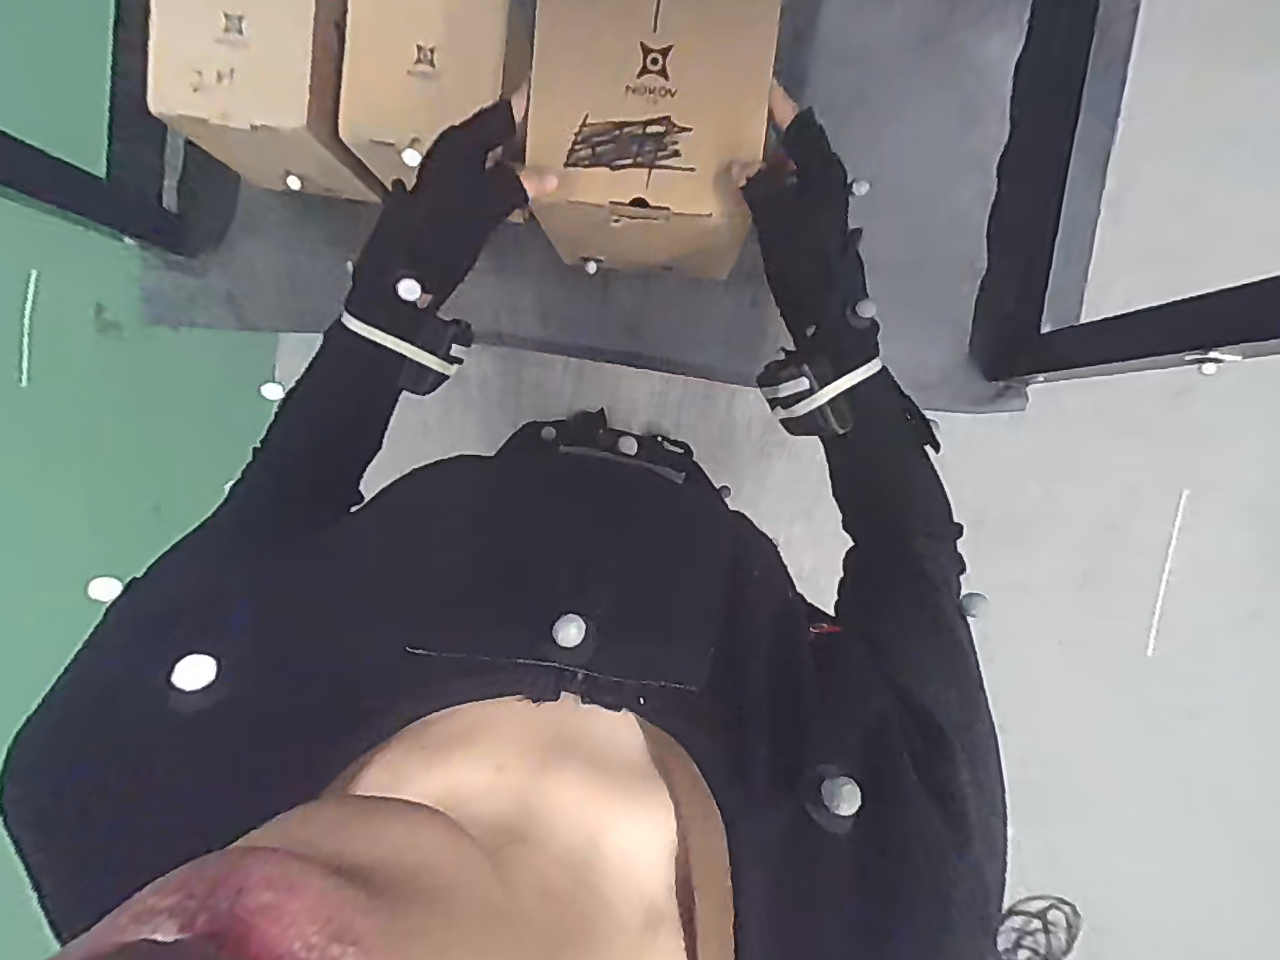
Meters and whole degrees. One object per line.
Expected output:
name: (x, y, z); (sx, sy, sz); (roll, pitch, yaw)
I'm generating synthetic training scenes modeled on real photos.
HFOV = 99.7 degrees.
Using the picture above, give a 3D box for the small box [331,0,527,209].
small box: (-0.223, -0.446, 0.624); (0.168, 0.176, 0.179); (7, 95, -1)

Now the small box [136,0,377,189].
small box: (-0.413, -0.468, 0.617); (0.168, 0.176, 0.179); (7, 95, -1)

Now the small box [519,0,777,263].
small box: (0.008, -0.292, 0.442); (0.168, 0.176, 0.179); (6, 97, 1)
